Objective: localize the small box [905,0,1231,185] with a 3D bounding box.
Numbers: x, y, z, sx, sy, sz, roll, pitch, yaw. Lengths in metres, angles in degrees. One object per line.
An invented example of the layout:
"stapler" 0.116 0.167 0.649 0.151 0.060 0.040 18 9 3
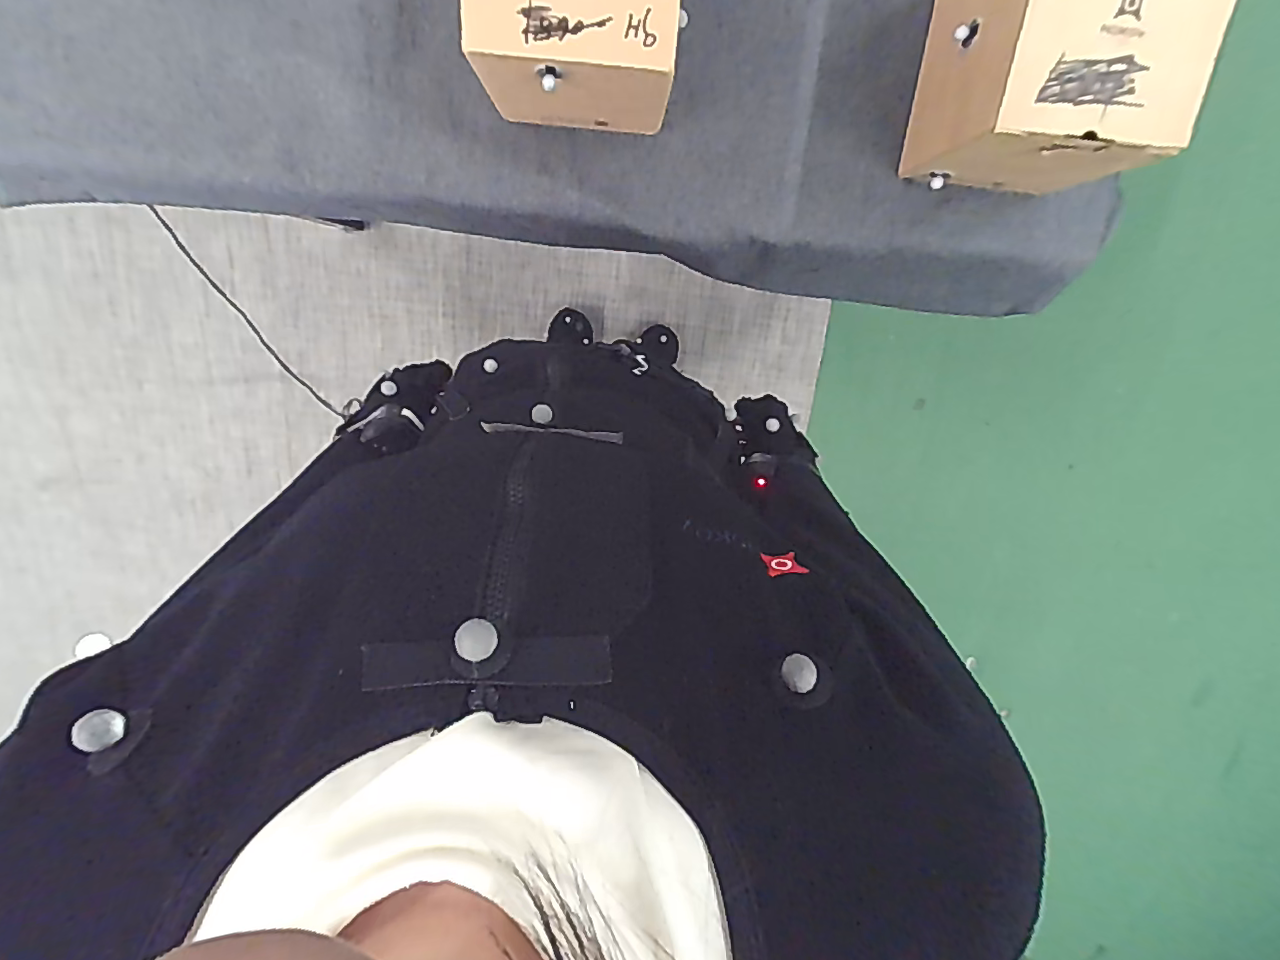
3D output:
"small box" 0.374 -0.390 0.497 0.168 0.176 0.179 5 107 -3

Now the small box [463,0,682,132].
"small box" -0.050 -0.434 0.468 0.168 0.176 0.179 3 107 -3
